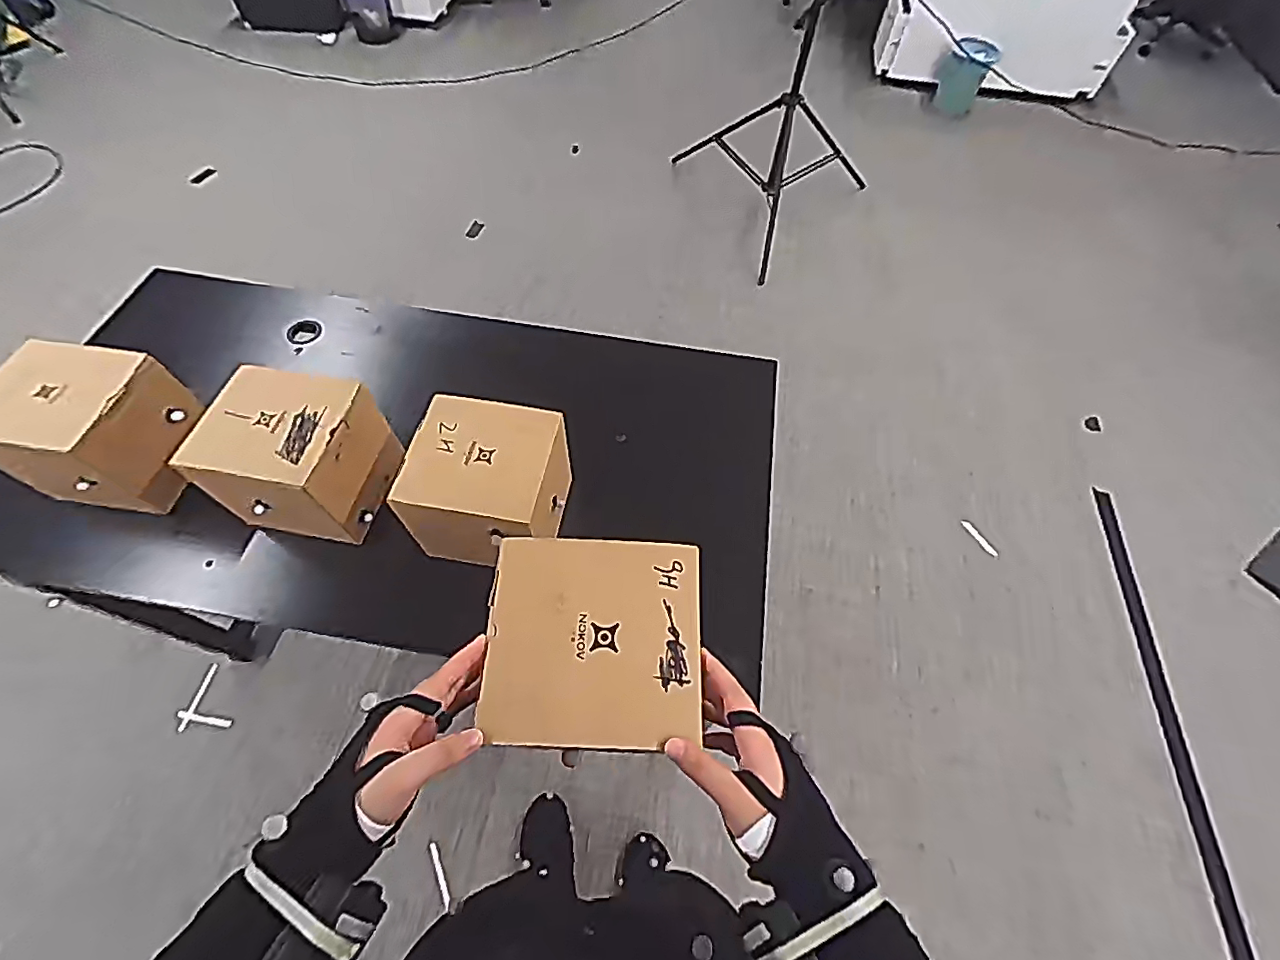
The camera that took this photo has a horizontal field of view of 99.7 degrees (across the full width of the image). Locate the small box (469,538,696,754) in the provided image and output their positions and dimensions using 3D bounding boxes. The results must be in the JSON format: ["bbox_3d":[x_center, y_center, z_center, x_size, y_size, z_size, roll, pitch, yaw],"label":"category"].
[{"bbox_3d":[-0.041,0.165,0.515,0.179,0.176,0.168,3,62,0],"label":"small box"}]

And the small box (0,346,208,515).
[{"bbox_3d":[-0.760,-0.063,0.768,0.179,0.176,0.168,6,58,2],"label":"small box"}]

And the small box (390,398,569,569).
[{"bbox_3d":[-0.200,0.014,0.740,0.179,0.176,0.168,8,59,3],"label":"small box"}]

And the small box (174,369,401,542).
[{"bbox_3d":[-0.468,-0.027,0.756,0.179,0.176,0.168,9,59,4],"label":"small box"}]
